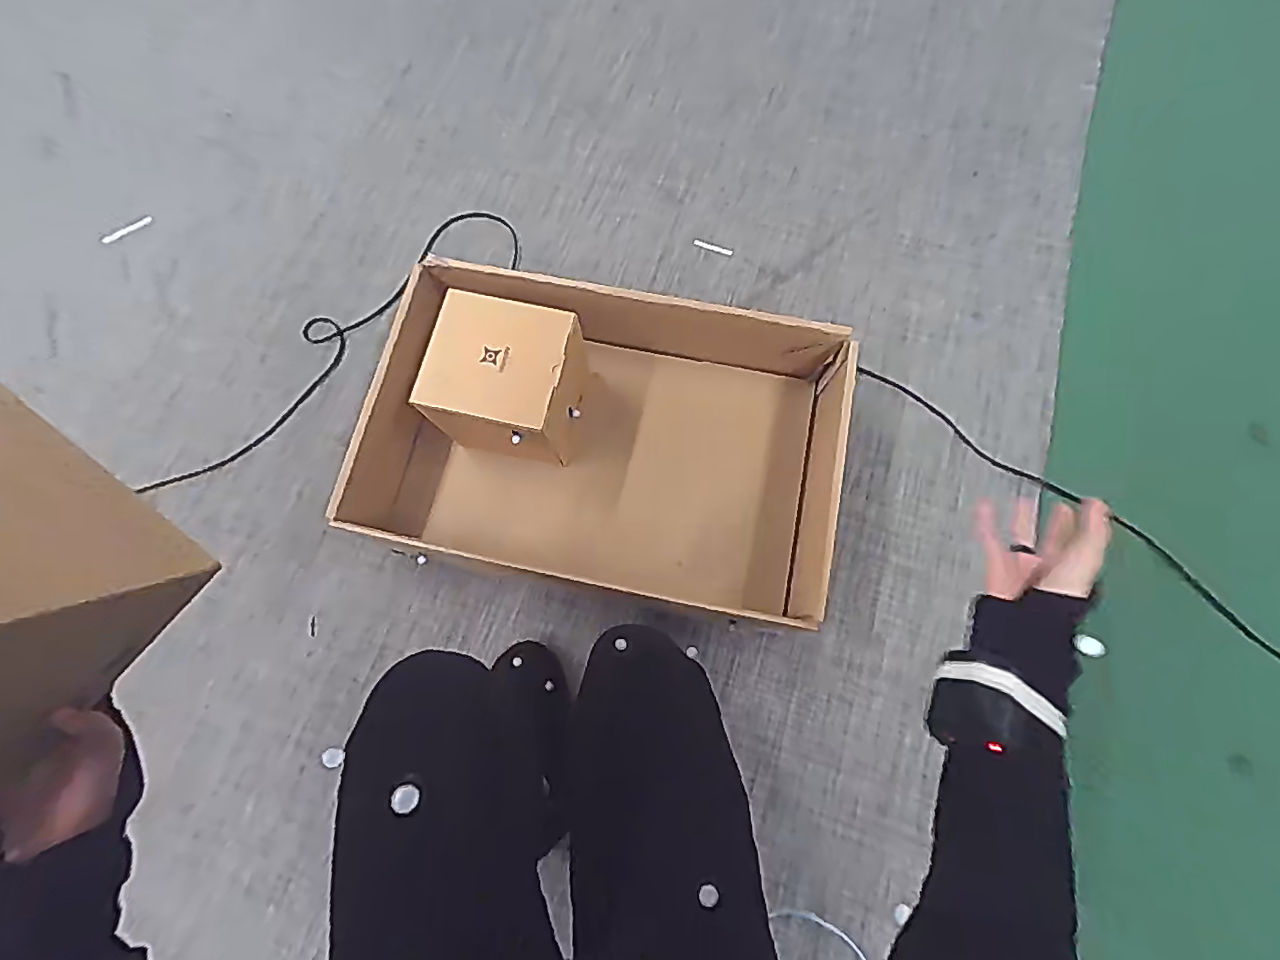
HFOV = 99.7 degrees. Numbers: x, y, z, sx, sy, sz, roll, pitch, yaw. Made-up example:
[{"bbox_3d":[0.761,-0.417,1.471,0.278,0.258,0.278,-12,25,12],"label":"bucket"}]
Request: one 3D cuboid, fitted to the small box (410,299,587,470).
[{"bbox_3d":[-0.184,-0.124,0.762,0.179,0.176,0.168,12,76,4],"label":"small box"}]
